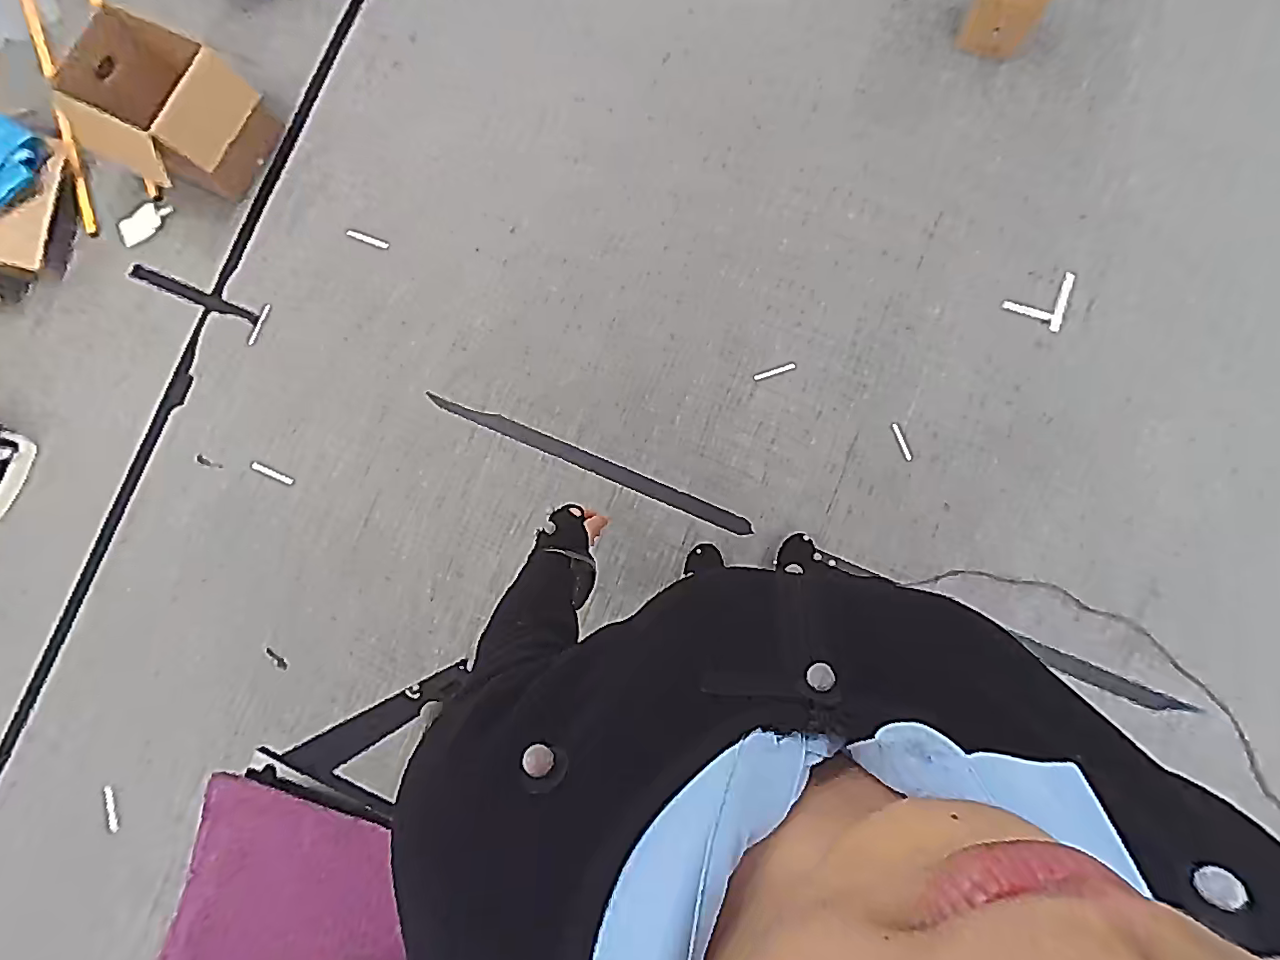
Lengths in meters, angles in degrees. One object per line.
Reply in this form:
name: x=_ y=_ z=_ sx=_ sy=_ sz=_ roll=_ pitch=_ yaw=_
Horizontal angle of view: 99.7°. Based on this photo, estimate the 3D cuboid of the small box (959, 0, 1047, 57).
small box: x=1.028 y=-1.341 z=1.513 sx=0.168 sy=0.176 sz=0.179 roll=19 pitch=85 yaw=8
